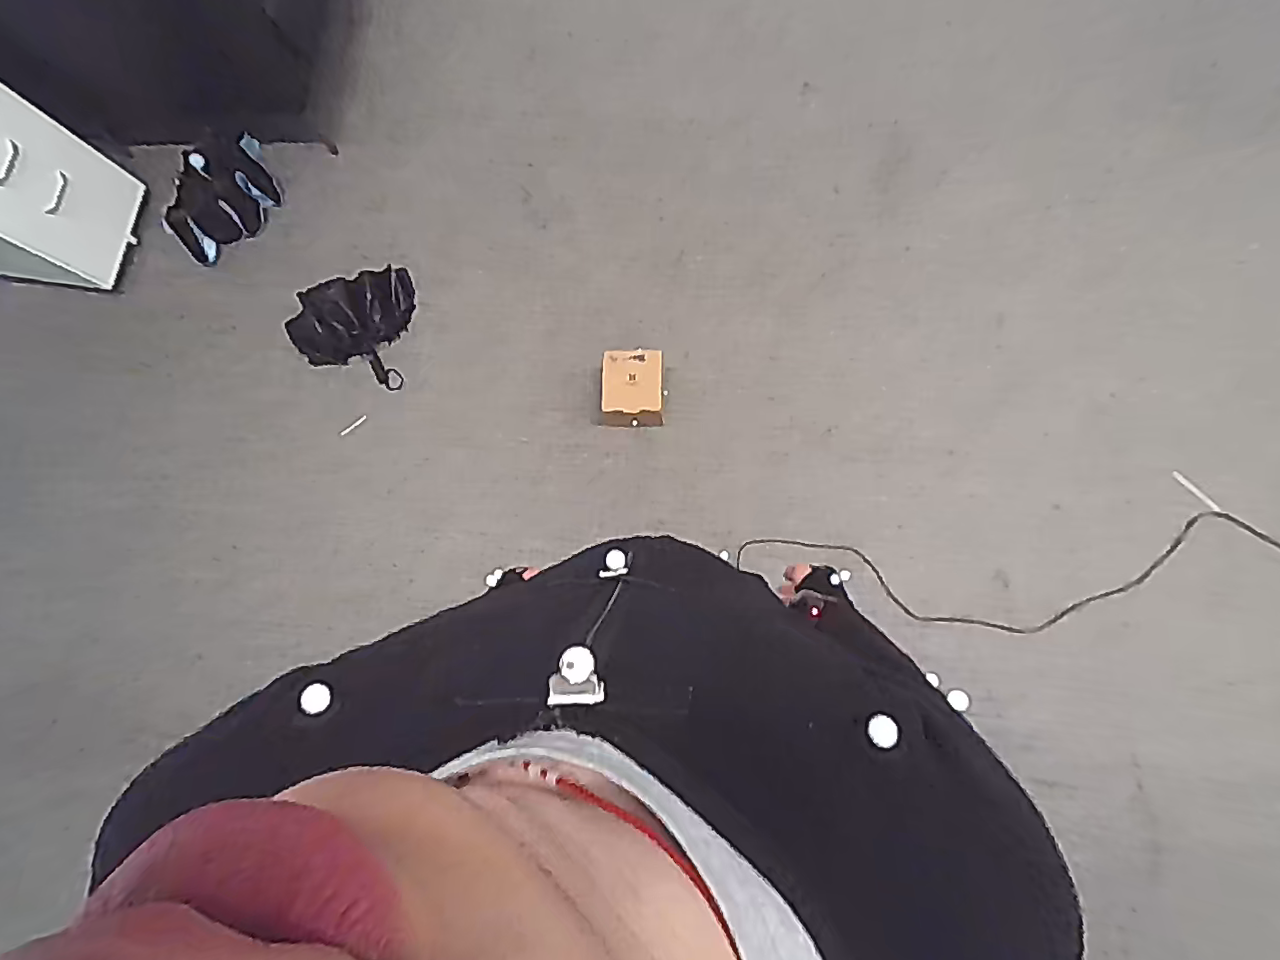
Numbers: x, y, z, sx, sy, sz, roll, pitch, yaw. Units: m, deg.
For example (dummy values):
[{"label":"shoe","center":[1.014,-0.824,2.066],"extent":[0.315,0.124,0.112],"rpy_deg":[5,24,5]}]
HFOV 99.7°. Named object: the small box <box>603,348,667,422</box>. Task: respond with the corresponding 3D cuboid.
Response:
[{"label":"small box","center":[-0.009,-0.267,1.561],"extent":[0.168,0.176,0.179],"rpy_deg":[0,83,7]}]
